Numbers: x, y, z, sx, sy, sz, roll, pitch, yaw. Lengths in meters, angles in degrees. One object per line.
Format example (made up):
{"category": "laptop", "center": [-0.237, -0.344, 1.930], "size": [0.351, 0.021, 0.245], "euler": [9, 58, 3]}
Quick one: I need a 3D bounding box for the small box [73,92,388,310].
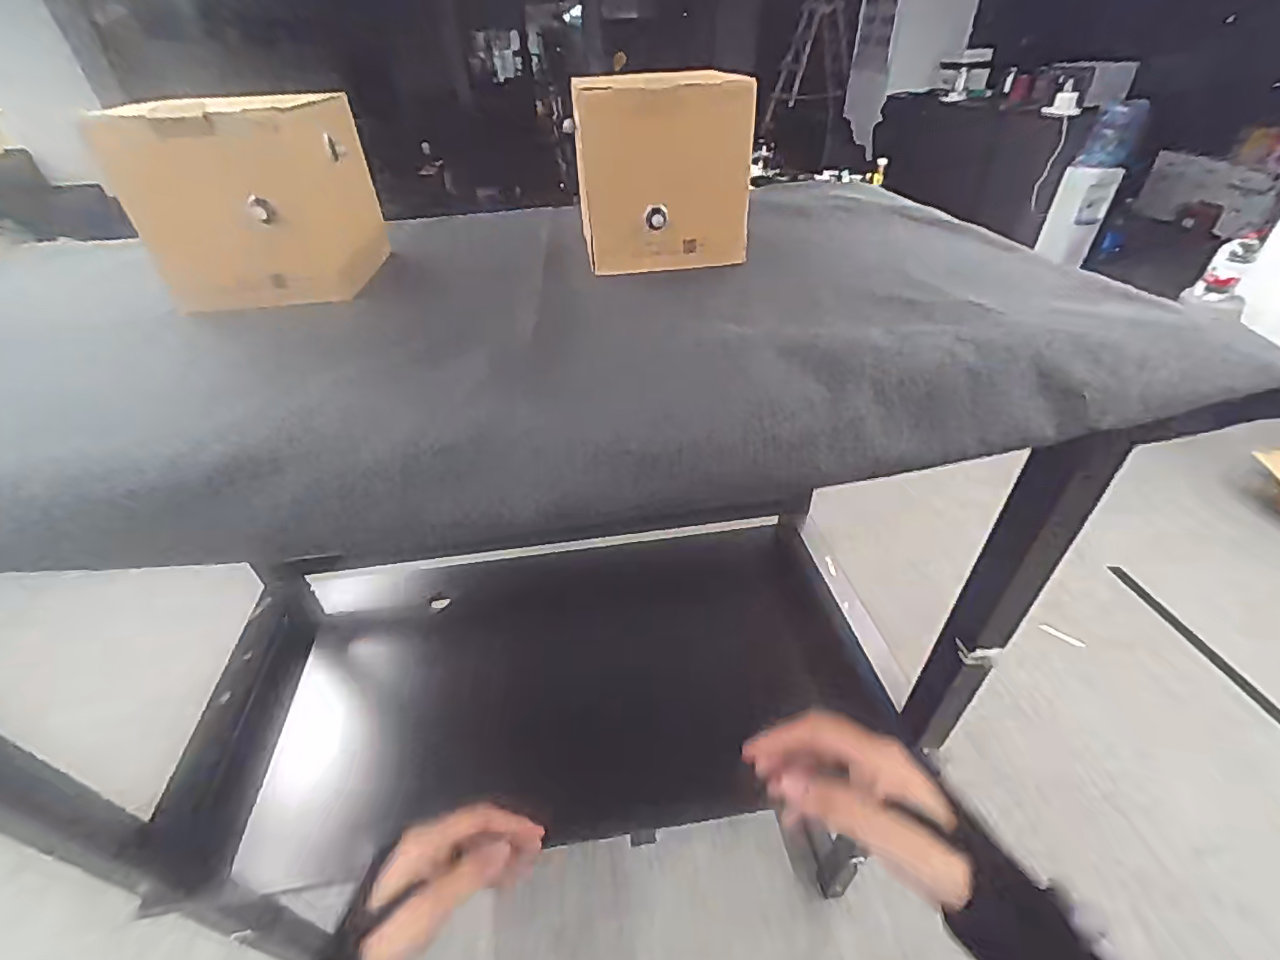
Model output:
{"category": "small box", "center": [-0.381, -0.282, 0.552], "size": [0.168, 0.176, 0.179], "euler": [-5, 40, -4]}

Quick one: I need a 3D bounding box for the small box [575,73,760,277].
{"category": "small box", "center": [0.020, -0.336, 0.594], "size": [0.168, 0.176, 0.179], "euler": [-7, 40, -5]}
